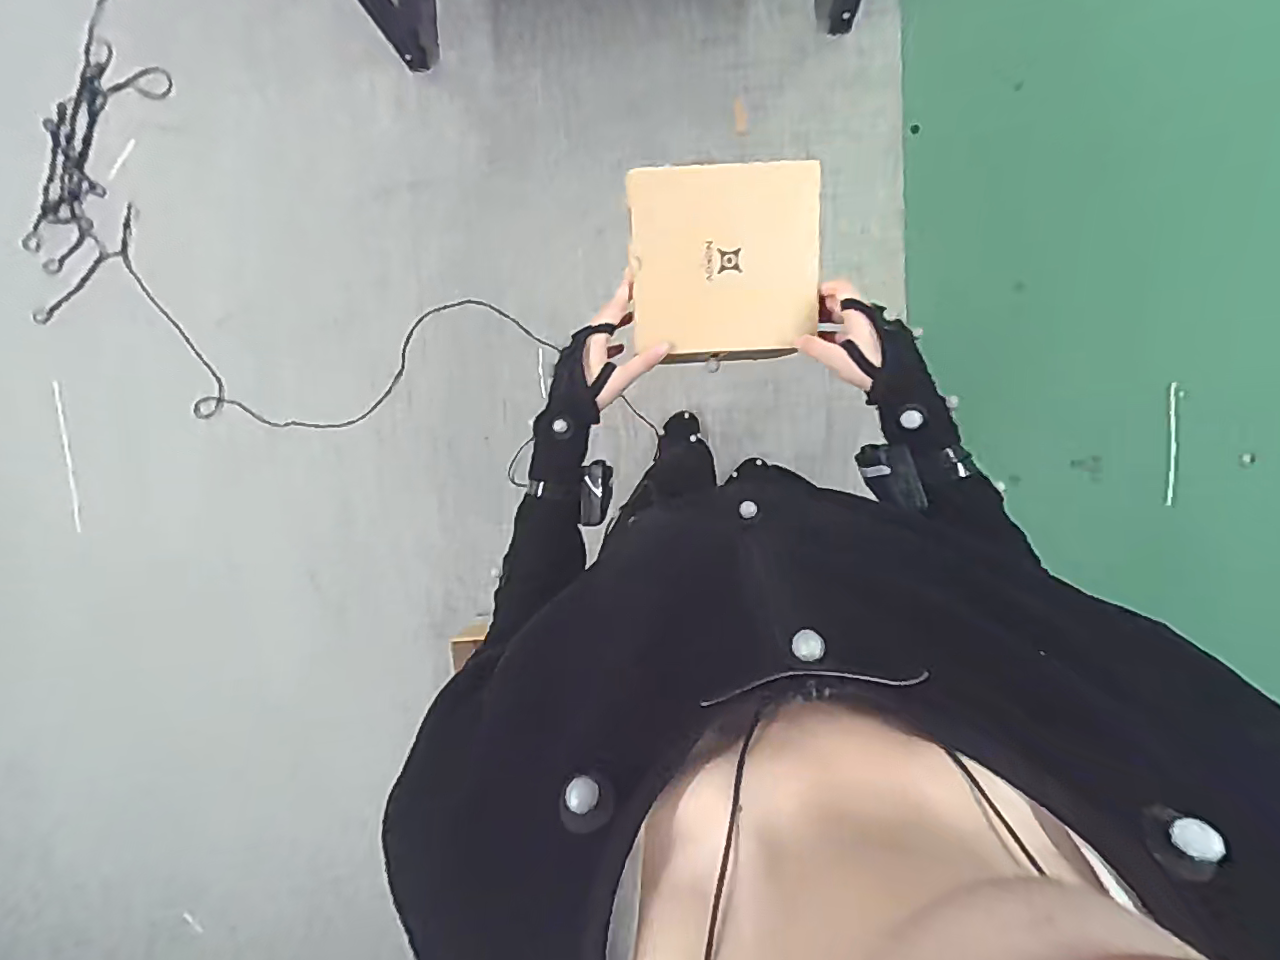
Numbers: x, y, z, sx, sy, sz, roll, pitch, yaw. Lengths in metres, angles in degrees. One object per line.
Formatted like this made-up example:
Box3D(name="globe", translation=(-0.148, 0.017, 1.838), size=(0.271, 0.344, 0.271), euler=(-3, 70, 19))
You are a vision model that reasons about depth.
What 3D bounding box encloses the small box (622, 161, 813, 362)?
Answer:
Box3D(name="small box", translation=(0.073, -0.217, 0.580), size=(0.179, 0.176, 0.168), euler=(-3, 99, 1))
